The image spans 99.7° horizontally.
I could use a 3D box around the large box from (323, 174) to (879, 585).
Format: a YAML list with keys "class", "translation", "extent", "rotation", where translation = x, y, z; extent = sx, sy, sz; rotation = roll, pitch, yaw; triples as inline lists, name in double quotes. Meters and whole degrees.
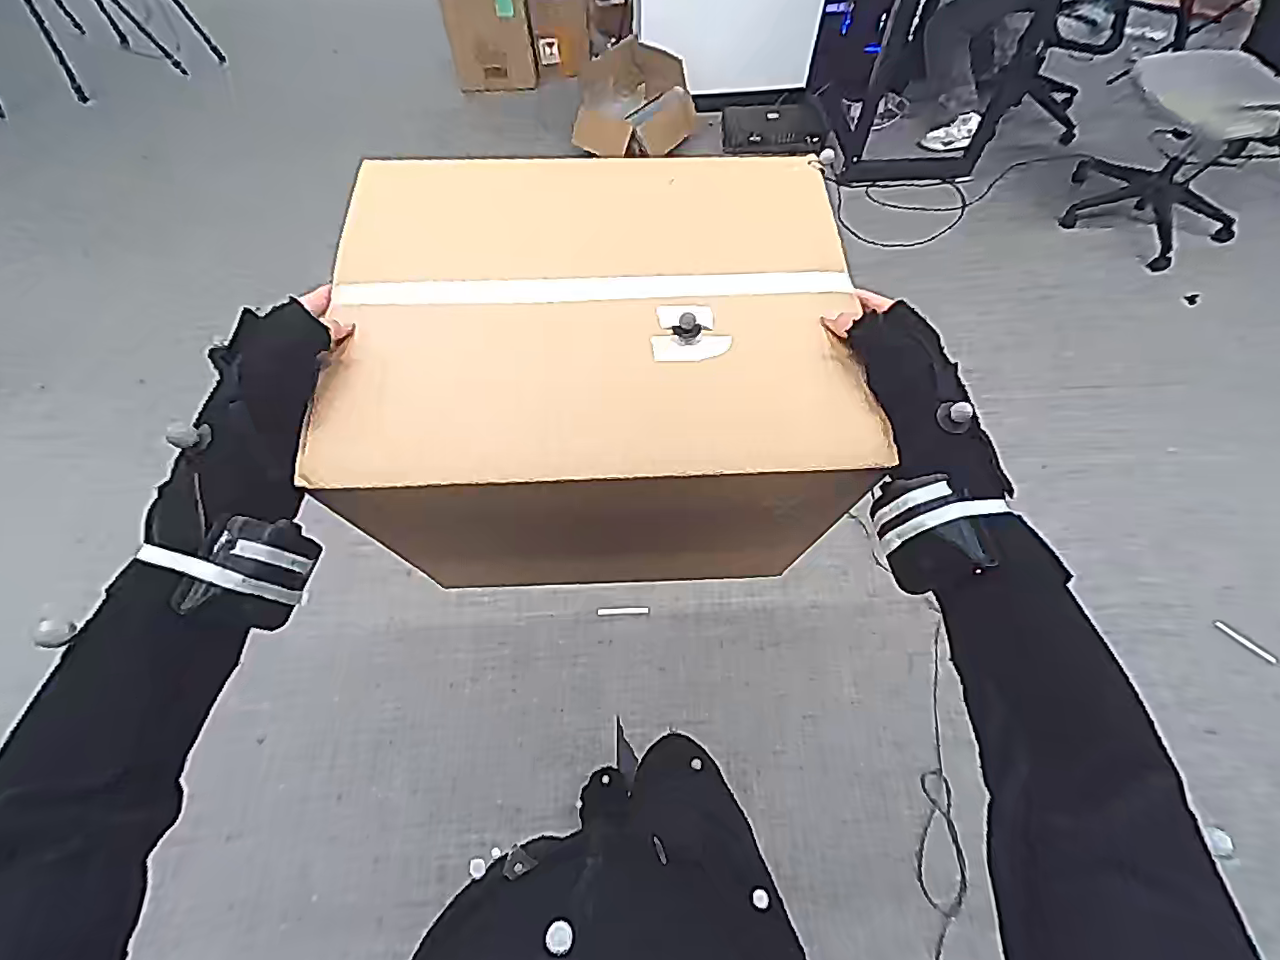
- class: "large box"
  translation: [-0.036, -0.082, 0.576]
  extent: [0.408, 0.320, 0.320]
  rotation: [-2, 66, -2]
